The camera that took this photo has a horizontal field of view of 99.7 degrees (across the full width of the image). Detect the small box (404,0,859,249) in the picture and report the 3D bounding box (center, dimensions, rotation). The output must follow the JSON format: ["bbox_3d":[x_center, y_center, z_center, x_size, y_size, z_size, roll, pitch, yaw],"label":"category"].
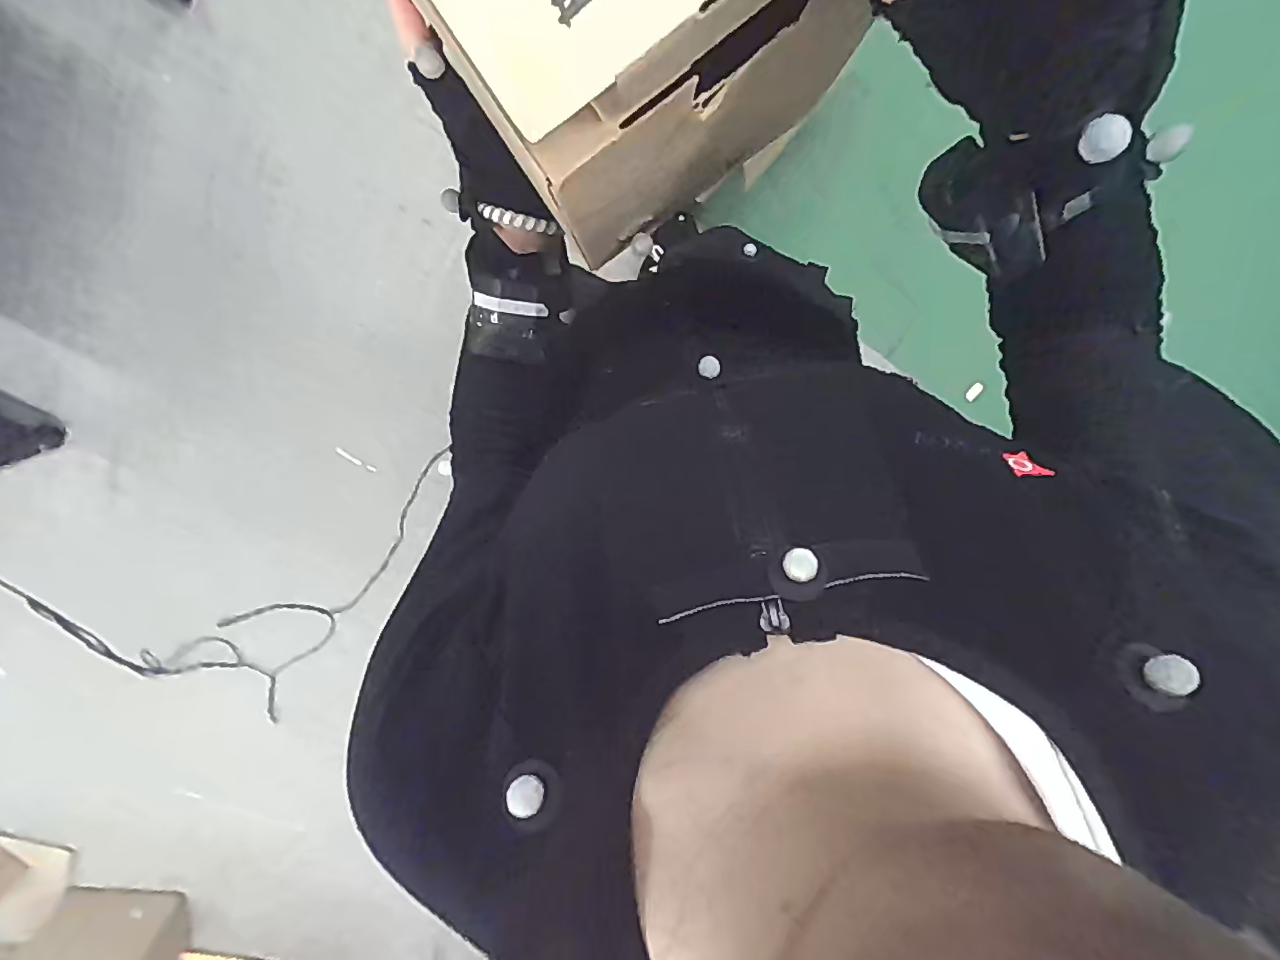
[{"bbox_3d":[-0.014,-0.227,0.237,0.168,0.176,0.179,-35,99,7],"label":"small box"}]
